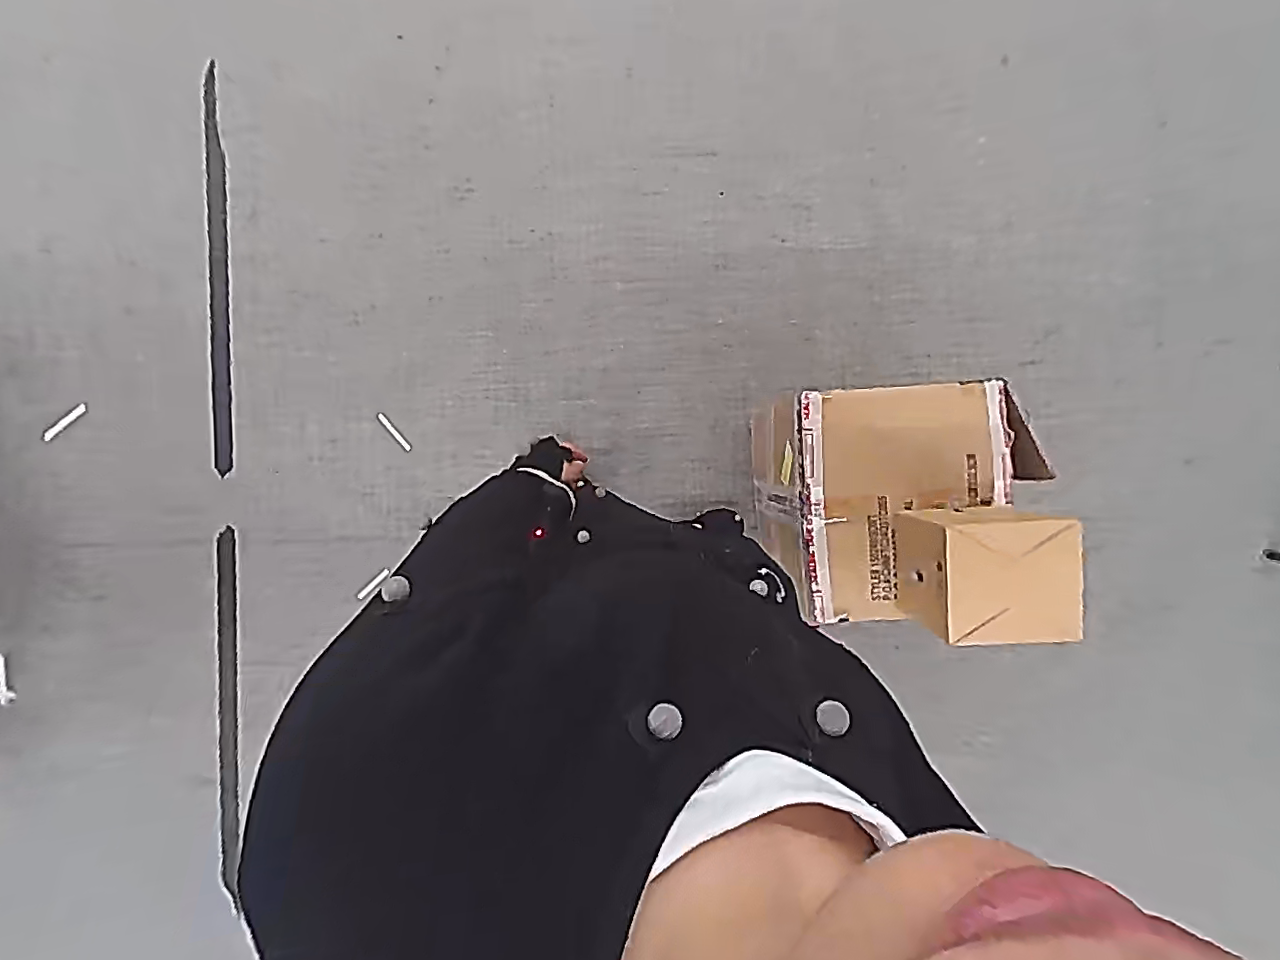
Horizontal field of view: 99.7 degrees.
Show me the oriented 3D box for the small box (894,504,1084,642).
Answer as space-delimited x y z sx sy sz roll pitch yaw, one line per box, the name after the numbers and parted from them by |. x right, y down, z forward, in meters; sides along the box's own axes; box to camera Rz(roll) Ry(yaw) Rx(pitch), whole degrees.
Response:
0.500 0.129 0.798 0.179 0.176 0.168 -3 94 3 | small box
